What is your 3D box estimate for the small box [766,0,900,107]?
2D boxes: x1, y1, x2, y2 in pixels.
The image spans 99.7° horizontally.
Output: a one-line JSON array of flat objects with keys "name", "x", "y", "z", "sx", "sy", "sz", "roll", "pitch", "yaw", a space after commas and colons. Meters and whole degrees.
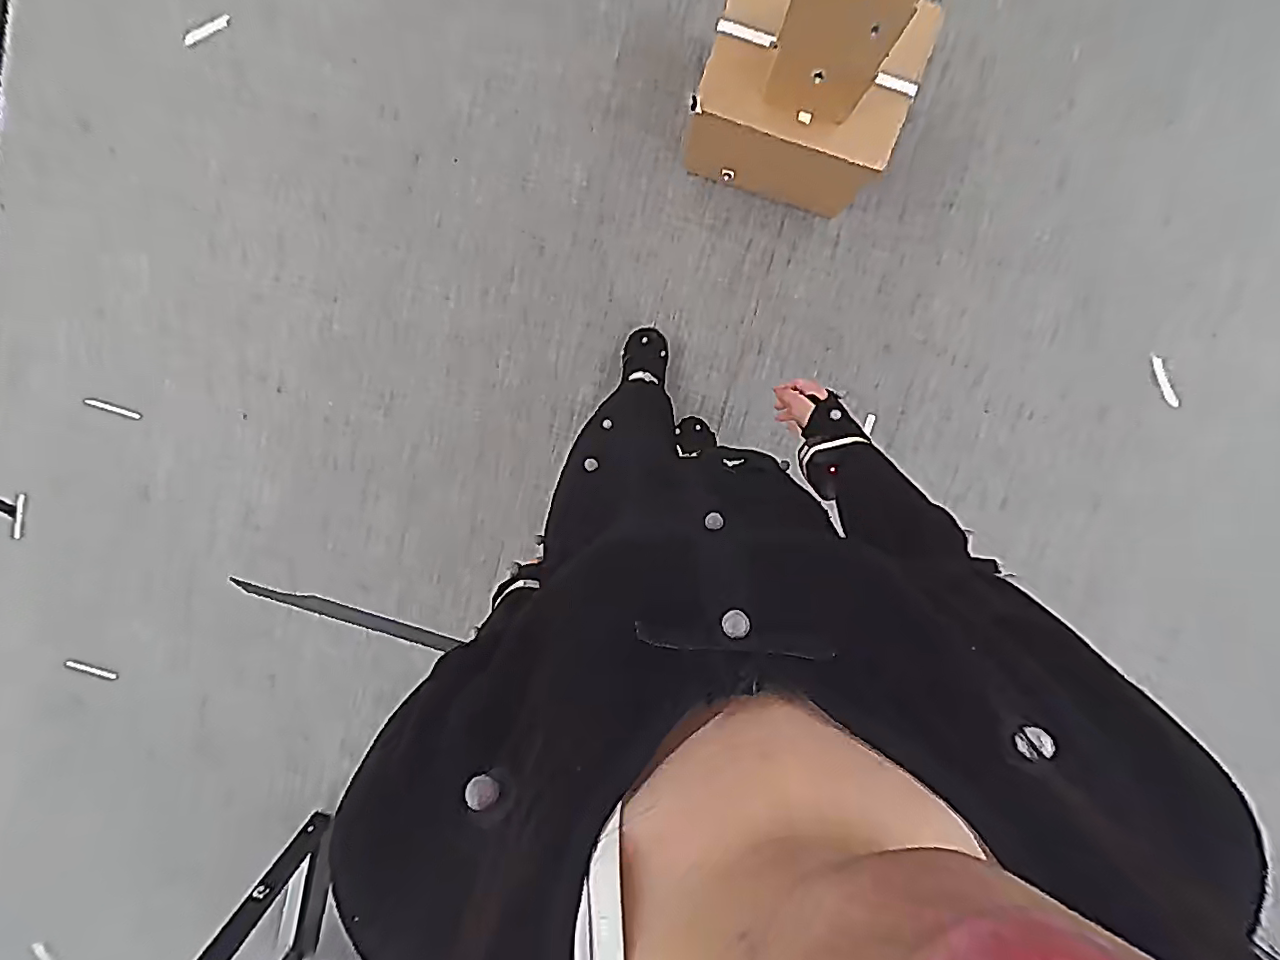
[{"name": "small box", "x": 0.341, "y": -0.810, "z": 0.967, "sx": 0.179, "sy": 0.176, "sz": 0.168, "roll": 15, "pitch": 101, "yaw": -2}]
